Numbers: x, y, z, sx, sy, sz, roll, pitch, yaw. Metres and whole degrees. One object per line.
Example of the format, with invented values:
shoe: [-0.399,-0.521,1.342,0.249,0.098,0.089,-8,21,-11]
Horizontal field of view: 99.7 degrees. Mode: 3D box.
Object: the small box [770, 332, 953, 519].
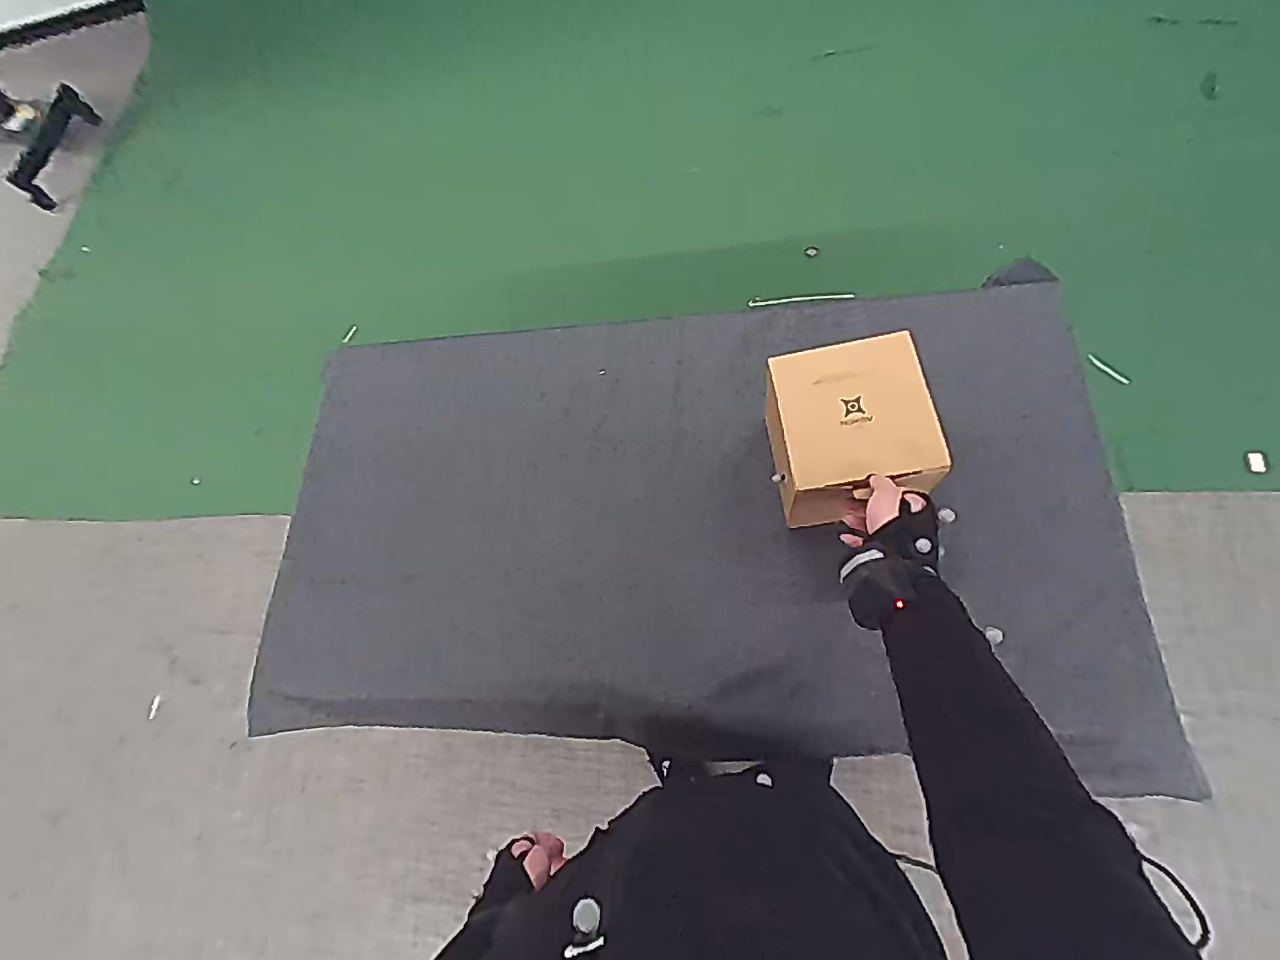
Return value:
small box: [0.265,-0.056,0.693,0.168,0.176,0.179,-9,69,8]
